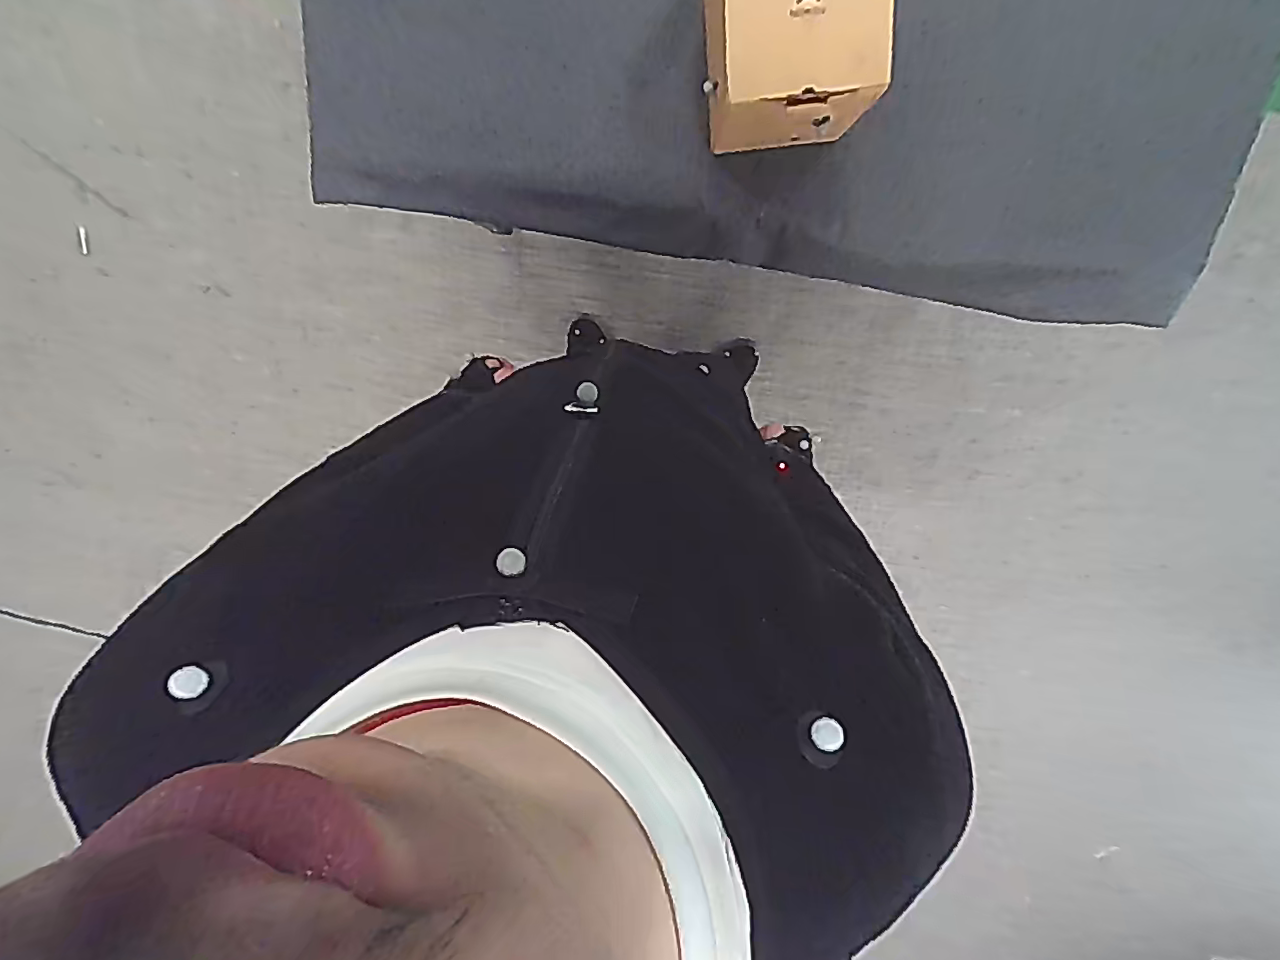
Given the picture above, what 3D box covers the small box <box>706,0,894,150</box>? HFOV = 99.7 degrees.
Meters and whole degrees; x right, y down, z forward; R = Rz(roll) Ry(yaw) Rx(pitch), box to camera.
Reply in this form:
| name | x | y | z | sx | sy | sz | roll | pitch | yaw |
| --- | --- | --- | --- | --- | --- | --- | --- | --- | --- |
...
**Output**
| name | x | y | z | sx | sy | sz | roll | pitch | yaw |
| --- | --- | --- | --- | --- | --- | --- | --- | --- | --- |
| small box | 0.168 | -0.493 | 0.607 | 0.168 | 0.176 | 0.179 | -6 | 105 | 1 |
